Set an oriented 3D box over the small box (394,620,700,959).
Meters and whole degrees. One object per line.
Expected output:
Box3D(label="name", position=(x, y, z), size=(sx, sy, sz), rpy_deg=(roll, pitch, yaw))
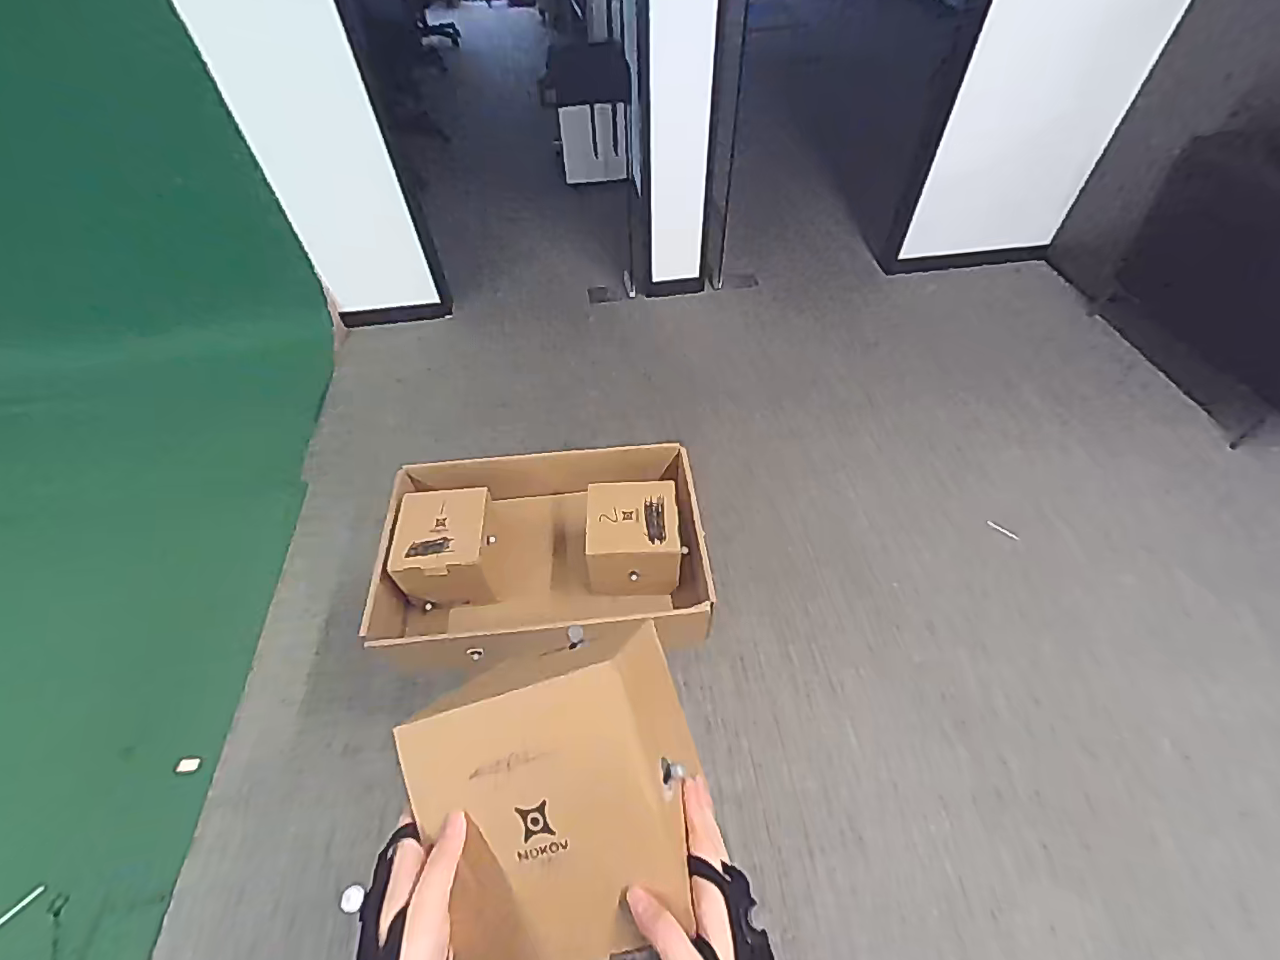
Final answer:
Box3D(label="small box", position=(-0.057, 0.230, 0.433), size=(0.168, 0.176, 0.179), rpy_deg=(-19, 82, 8))
